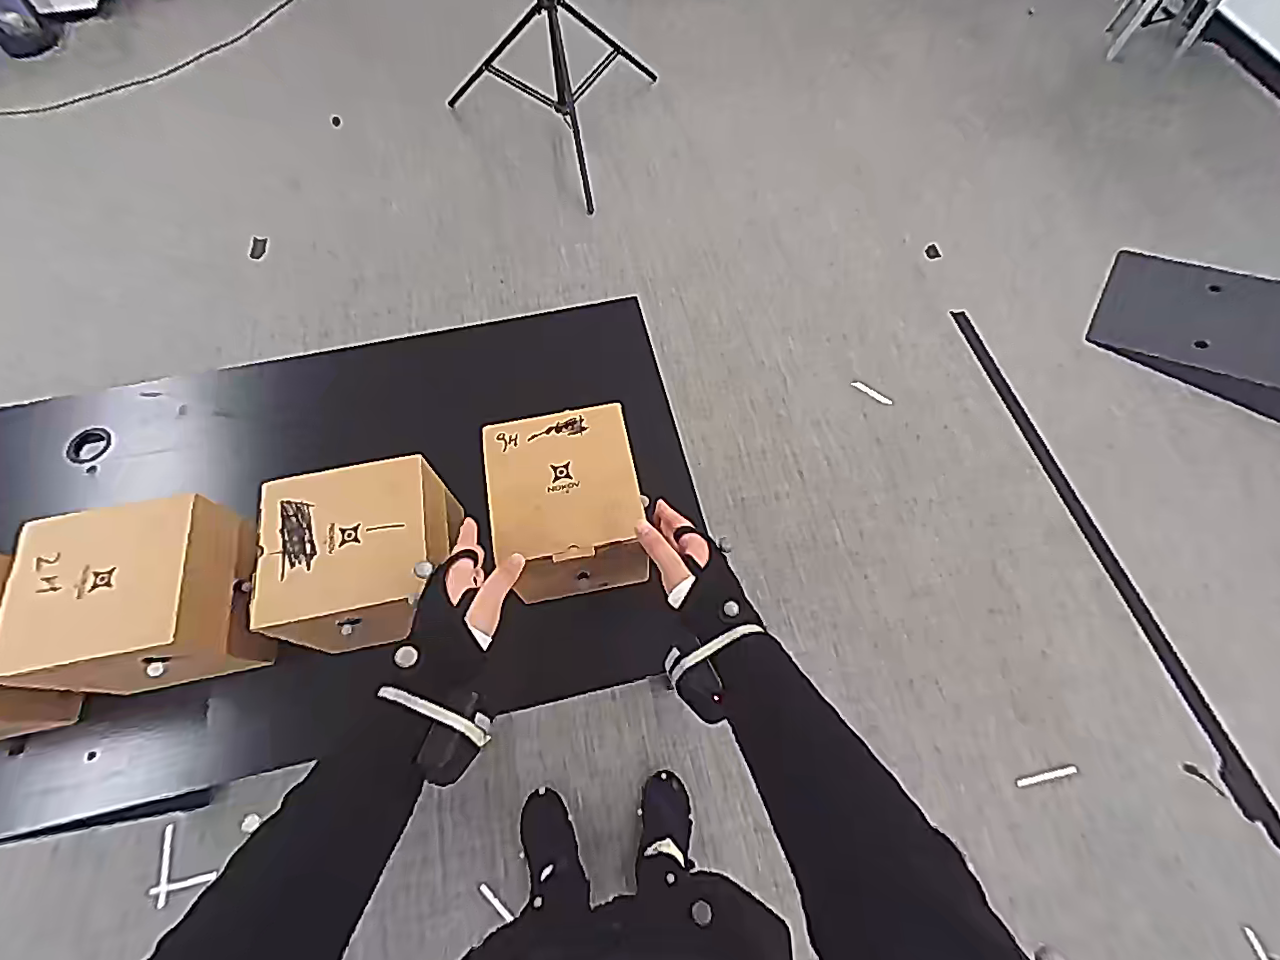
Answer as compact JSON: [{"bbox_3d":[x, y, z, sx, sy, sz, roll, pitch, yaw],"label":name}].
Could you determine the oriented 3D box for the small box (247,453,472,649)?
[{"bbox_3d":[-0.313,0.091,0.637,0.179,0.176,0.168,-11,65,-6],"label":"small box"}]

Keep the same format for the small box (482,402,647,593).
[{"bbox_3d":[-0.086,0.032,0.663,0.168,0.176,0.179,-10,66,-6],"label":"small box"}]

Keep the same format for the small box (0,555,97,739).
[{"bbox_3d":[-0.761,0.191,0.591,0.168,0.176,0.179,-13,66,-5],"label":"small box"}]
